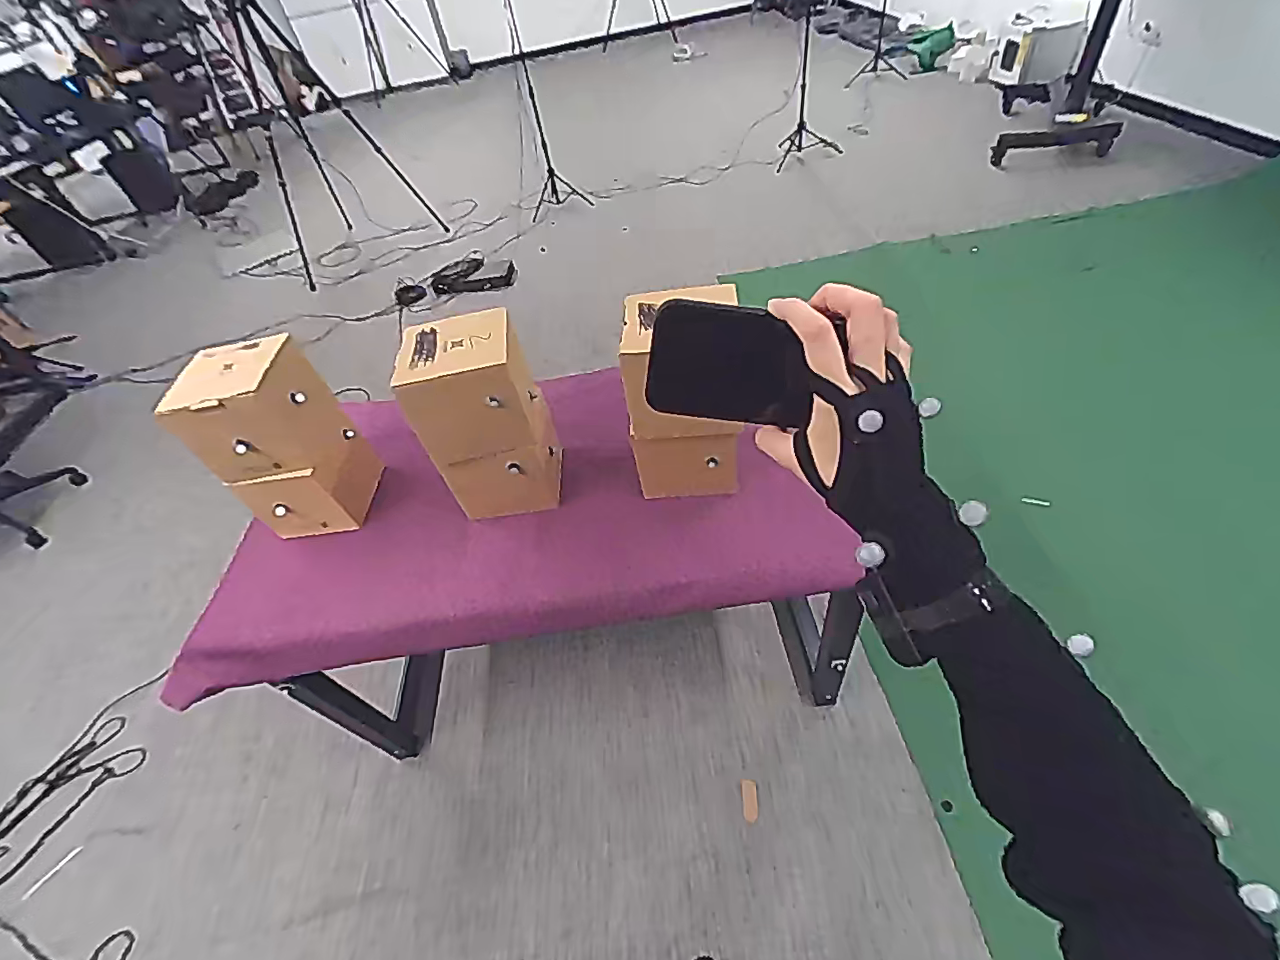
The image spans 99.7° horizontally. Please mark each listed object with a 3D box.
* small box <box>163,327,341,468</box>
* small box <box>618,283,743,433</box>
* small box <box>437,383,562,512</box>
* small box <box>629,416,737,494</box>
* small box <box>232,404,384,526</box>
[{"bbox_3d":[-0.663,-0.138,0.953,0.168,0.176,0.179,-10,48,1],"label":"small box"},{"bbox_3d":[0.071,-0.187,0.856,0.179,0.176,0.168,-3,48,8],"label":"small box"},{"bbox_3d":[-0.252,-0.058,1.022,0.179,0.176,0.168,-7,48,5],"label":"small box"},{"bbox_3d":[0.085,-0.089,0.987,0.179,0.176,0.168,-3,48,9],"label":"small box"},{"bbox_3d":[-0.639,-0.023,1.069,0.168,0.176,0.179,-7,48,5],"label":"small box"}]
